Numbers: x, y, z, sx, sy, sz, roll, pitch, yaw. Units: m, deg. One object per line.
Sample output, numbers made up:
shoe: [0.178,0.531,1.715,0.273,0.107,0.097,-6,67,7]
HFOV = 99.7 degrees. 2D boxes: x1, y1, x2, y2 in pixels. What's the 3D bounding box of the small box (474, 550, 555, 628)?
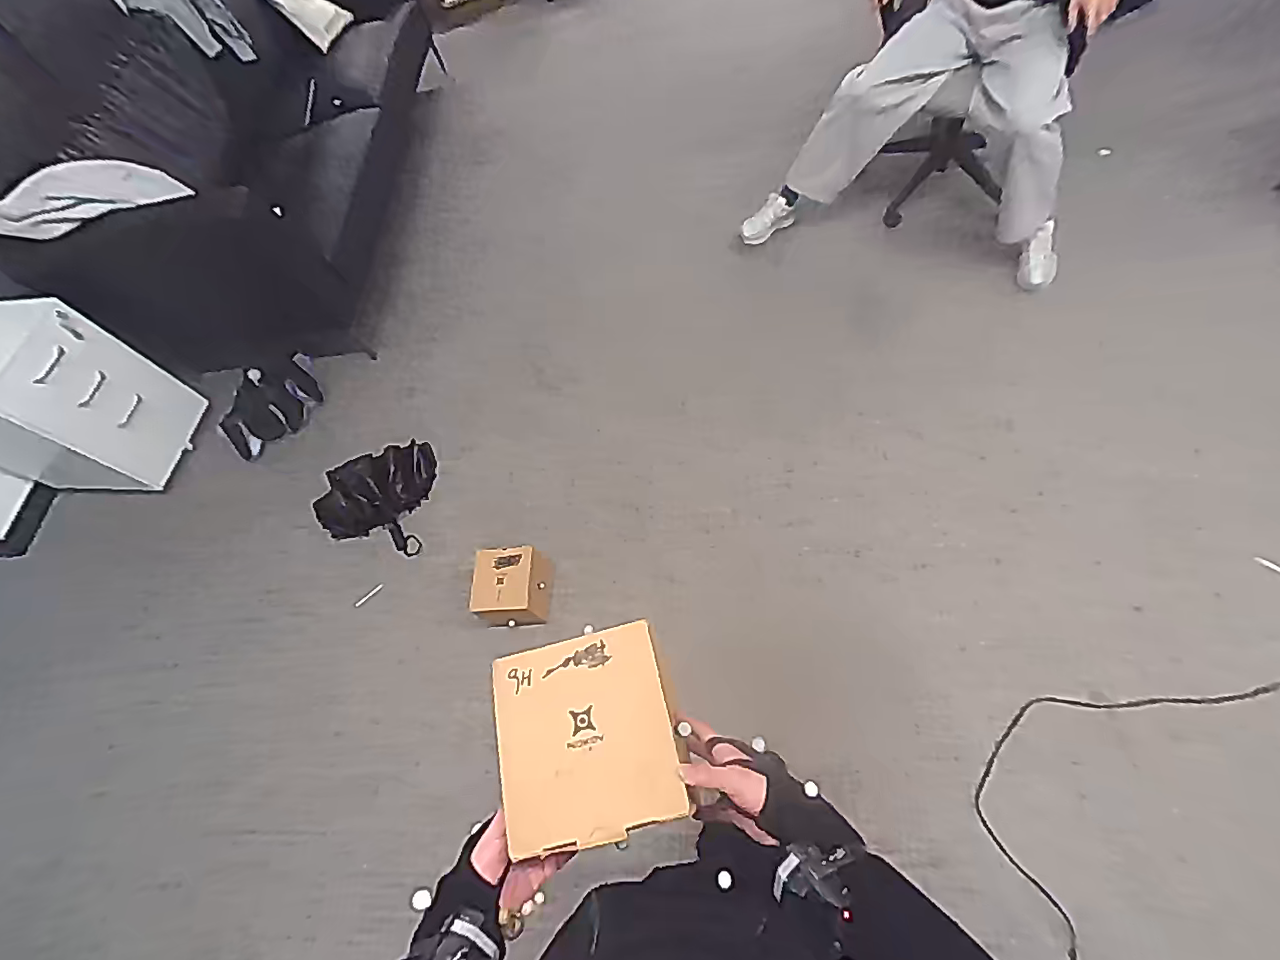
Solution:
small box: [-0.350,0.315,1.544,0.168,0.176,0.179,-6,63,10]
